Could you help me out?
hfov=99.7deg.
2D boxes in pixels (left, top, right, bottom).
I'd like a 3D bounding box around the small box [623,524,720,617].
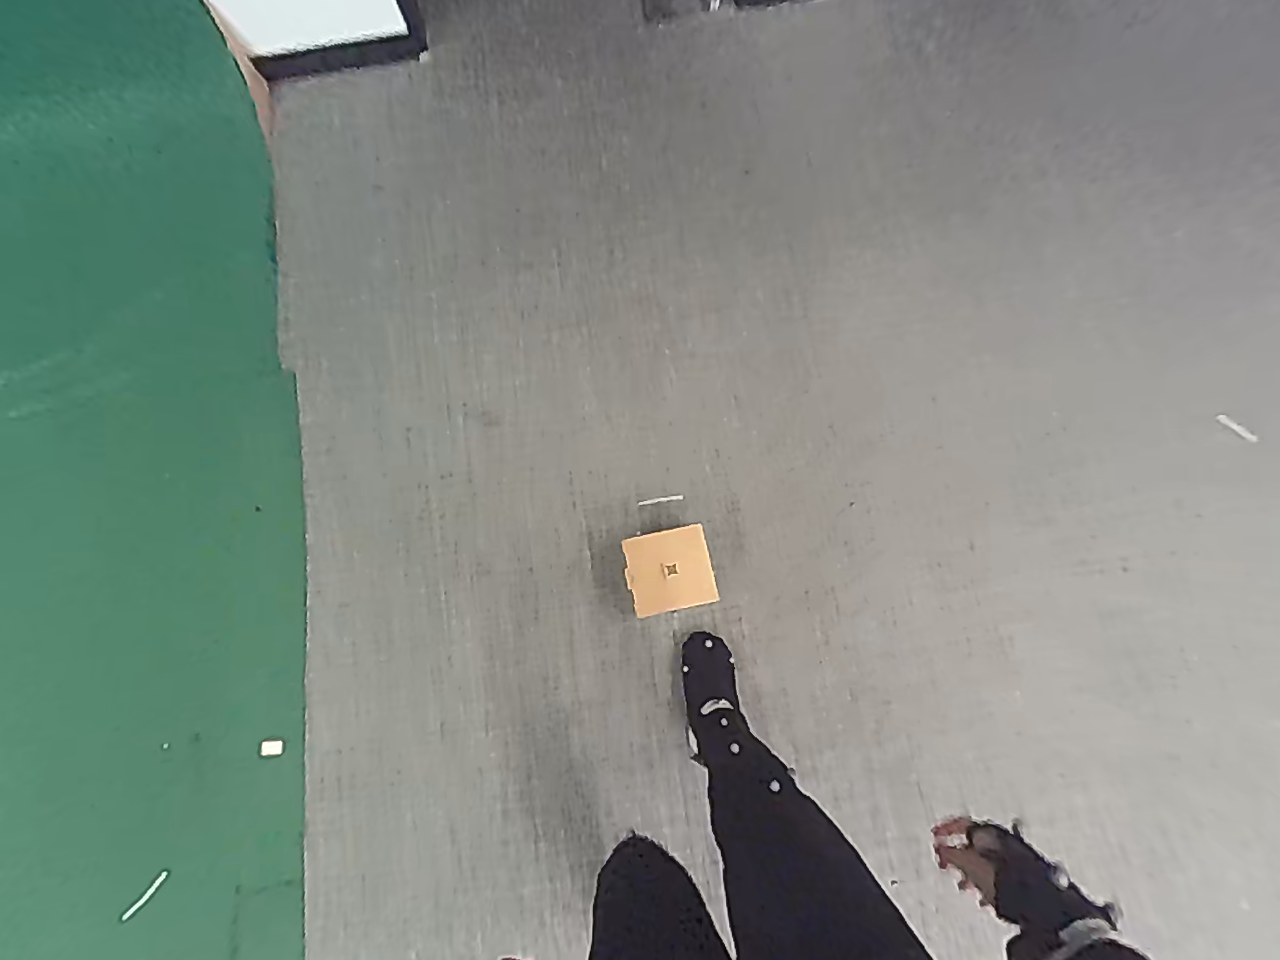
[{"bbox_3d":[0.066,0.198,1.189,0.179,0.176,0.168,-12,79,0],"label":"small box"}]
